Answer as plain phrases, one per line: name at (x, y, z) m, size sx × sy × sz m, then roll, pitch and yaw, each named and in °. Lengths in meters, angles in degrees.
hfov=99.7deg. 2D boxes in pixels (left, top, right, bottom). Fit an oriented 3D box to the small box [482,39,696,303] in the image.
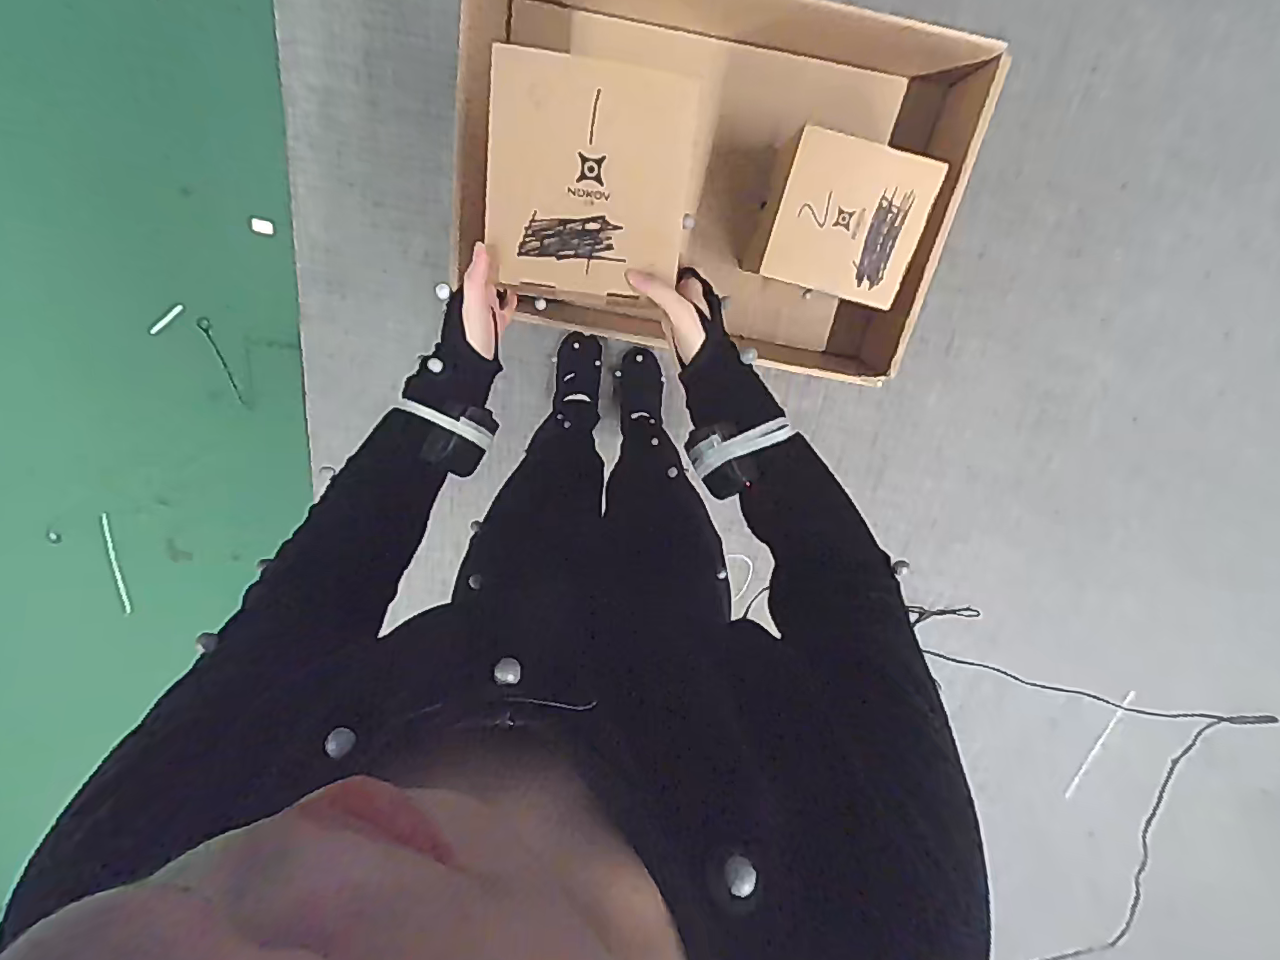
small box at (-0.048, -0.272, 0.523) m, size 0.168 × 0.176 × 0.179 m, roll 5°, pitch 104°, yaw -5°
